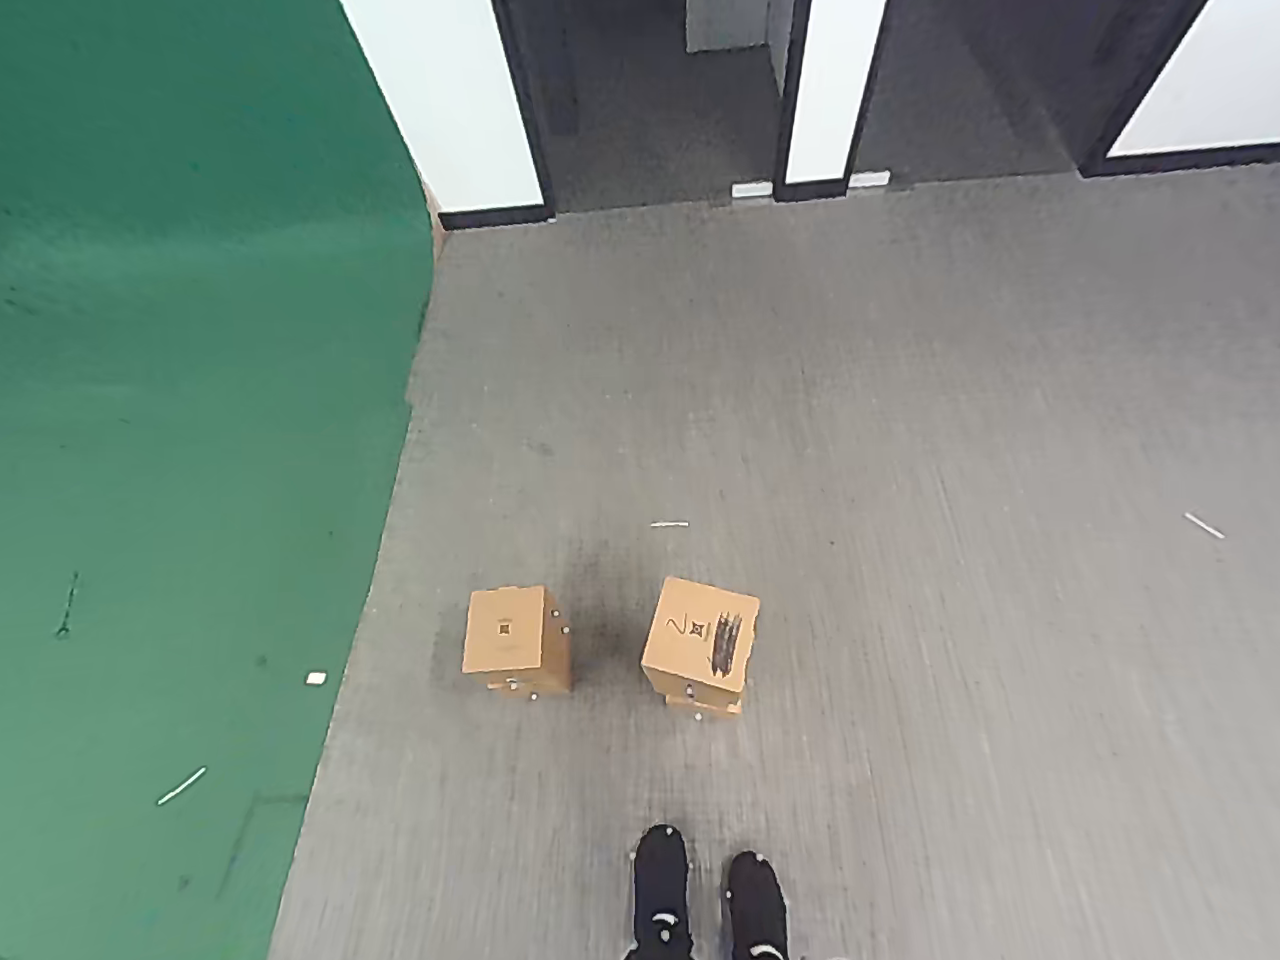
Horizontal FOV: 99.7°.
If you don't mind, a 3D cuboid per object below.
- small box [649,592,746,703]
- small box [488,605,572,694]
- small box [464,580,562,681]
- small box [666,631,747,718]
[{"bbox_3d":[0.126,0.362,1.150,0.168,0.176,0.179,11,63,12],"label":"small box"},{"bbox_3d":[-0.266,0.422,1.341,0.168,0.176,0.179,-5,61,3],"label":"small box"},{"bbox_3d":[-0.273,0.338,1.203,0.168,0.176,0.179,-6,61,4],"label":"small box"},{"bbox_3d":[0.158,0.451,1.284,0.168,0.176,0.179,7,62,10],"label":"small box"}]
